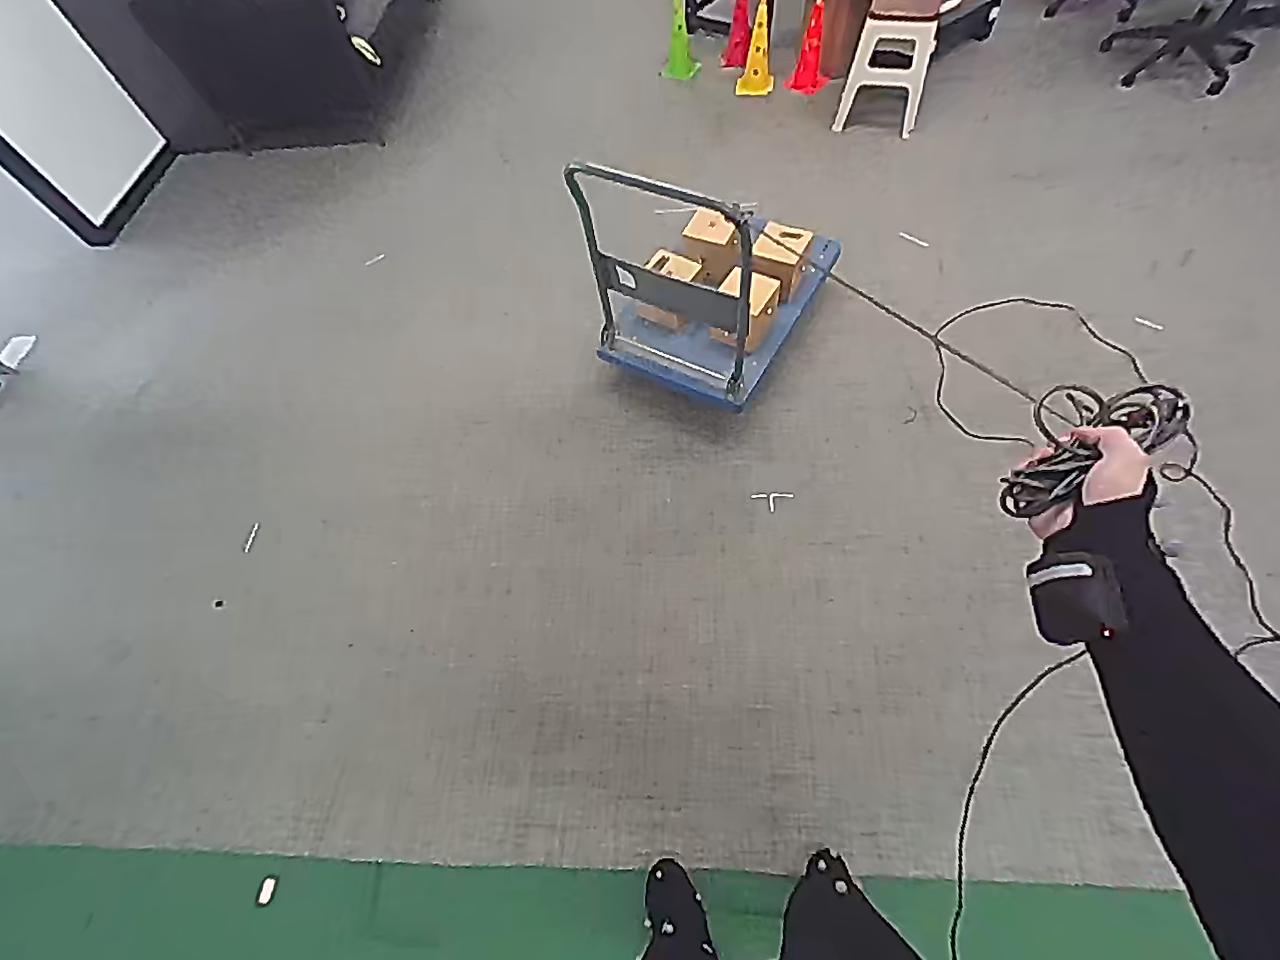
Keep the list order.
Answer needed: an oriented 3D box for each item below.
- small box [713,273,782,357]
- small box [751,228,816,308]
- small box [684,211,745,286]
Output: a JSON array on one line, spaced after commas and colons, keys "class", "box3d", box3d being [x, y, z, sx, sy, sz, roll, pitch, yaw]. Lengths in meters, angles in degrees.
[{"class": "small box", "box3d": [0.352, -0.546, 1.801, 0.168, 0.176, 0.179, 28, 67, 20]}, {"class": "small box", "box3d": [0.494, -0.740, 1.895, 0.168, 0.176, 0.179, 24, 67, 19]}, {"class": "small box", "box3d": [0.273, -0.843, 1.977, 0.168, 0.176, 0.179, 23, 66, 17]}]
